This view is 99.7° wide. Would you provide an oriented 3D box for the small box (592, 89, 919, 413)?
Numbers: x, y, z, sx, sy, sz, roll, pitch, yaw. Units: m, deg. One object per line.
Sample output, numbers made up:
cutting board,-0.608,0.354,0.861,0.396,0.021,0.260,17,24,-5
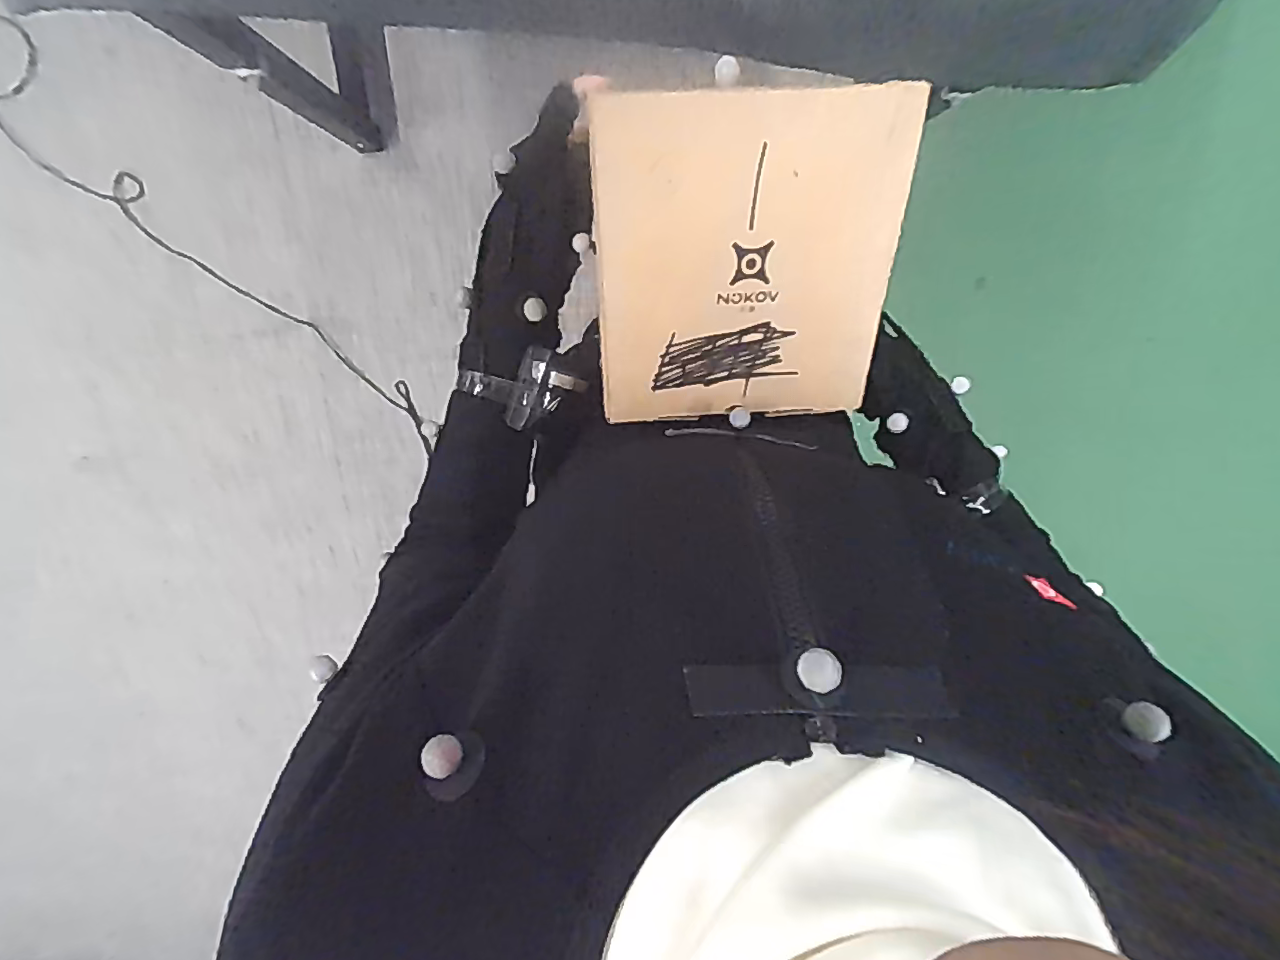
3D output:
small box,0.053,-0.163,0.377,0.168,0.176,0.179,-3,124,-4
